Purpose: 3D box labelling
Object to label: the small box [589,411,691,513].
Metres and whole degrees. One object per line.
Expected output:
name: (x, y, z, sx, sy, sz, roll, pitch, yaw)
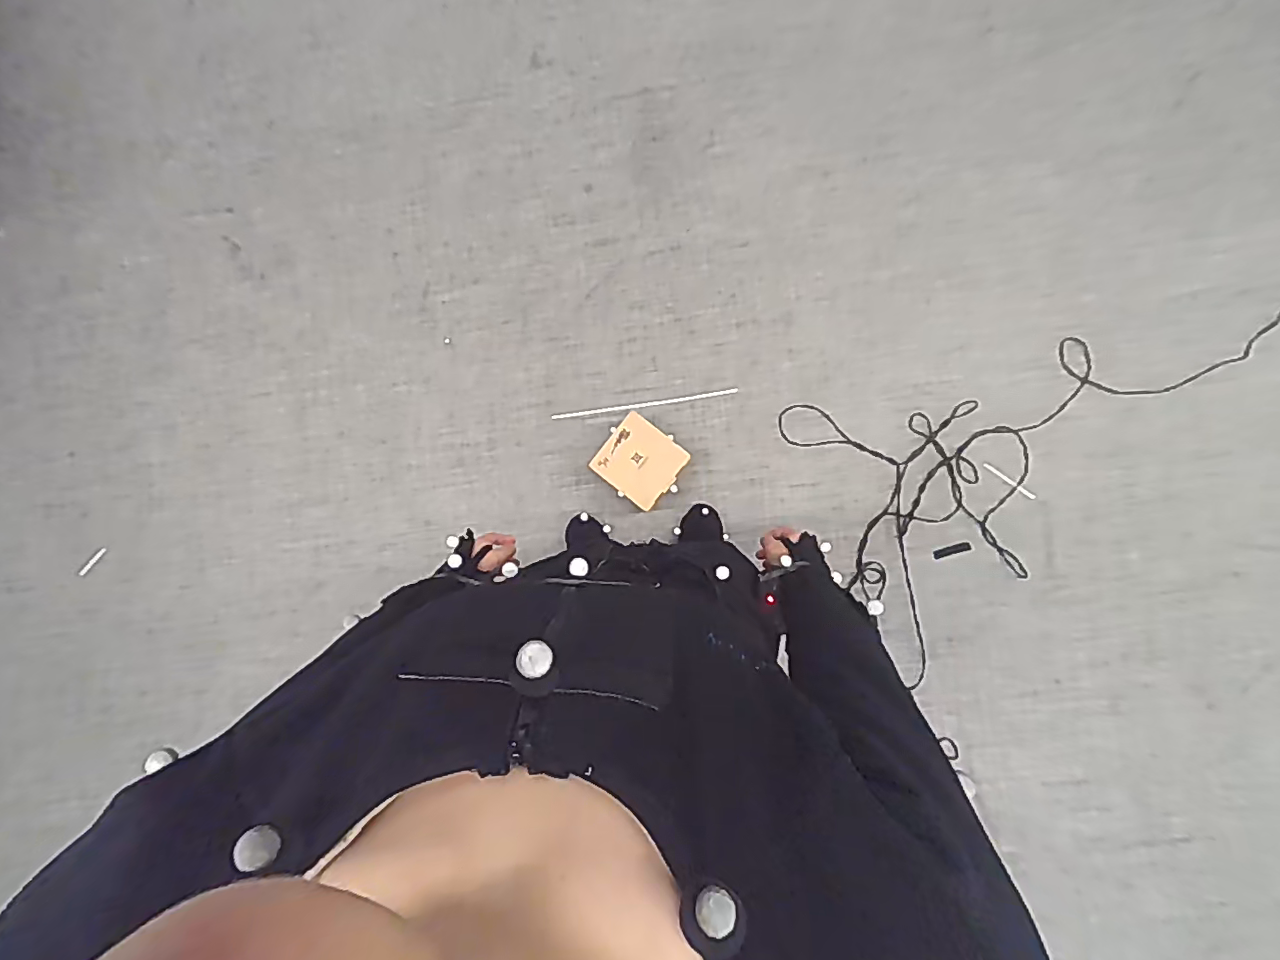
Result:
small box: (0.006, -0.040, 1.290, 0.179, 0.176, 0.168, 39, 91, 5)
